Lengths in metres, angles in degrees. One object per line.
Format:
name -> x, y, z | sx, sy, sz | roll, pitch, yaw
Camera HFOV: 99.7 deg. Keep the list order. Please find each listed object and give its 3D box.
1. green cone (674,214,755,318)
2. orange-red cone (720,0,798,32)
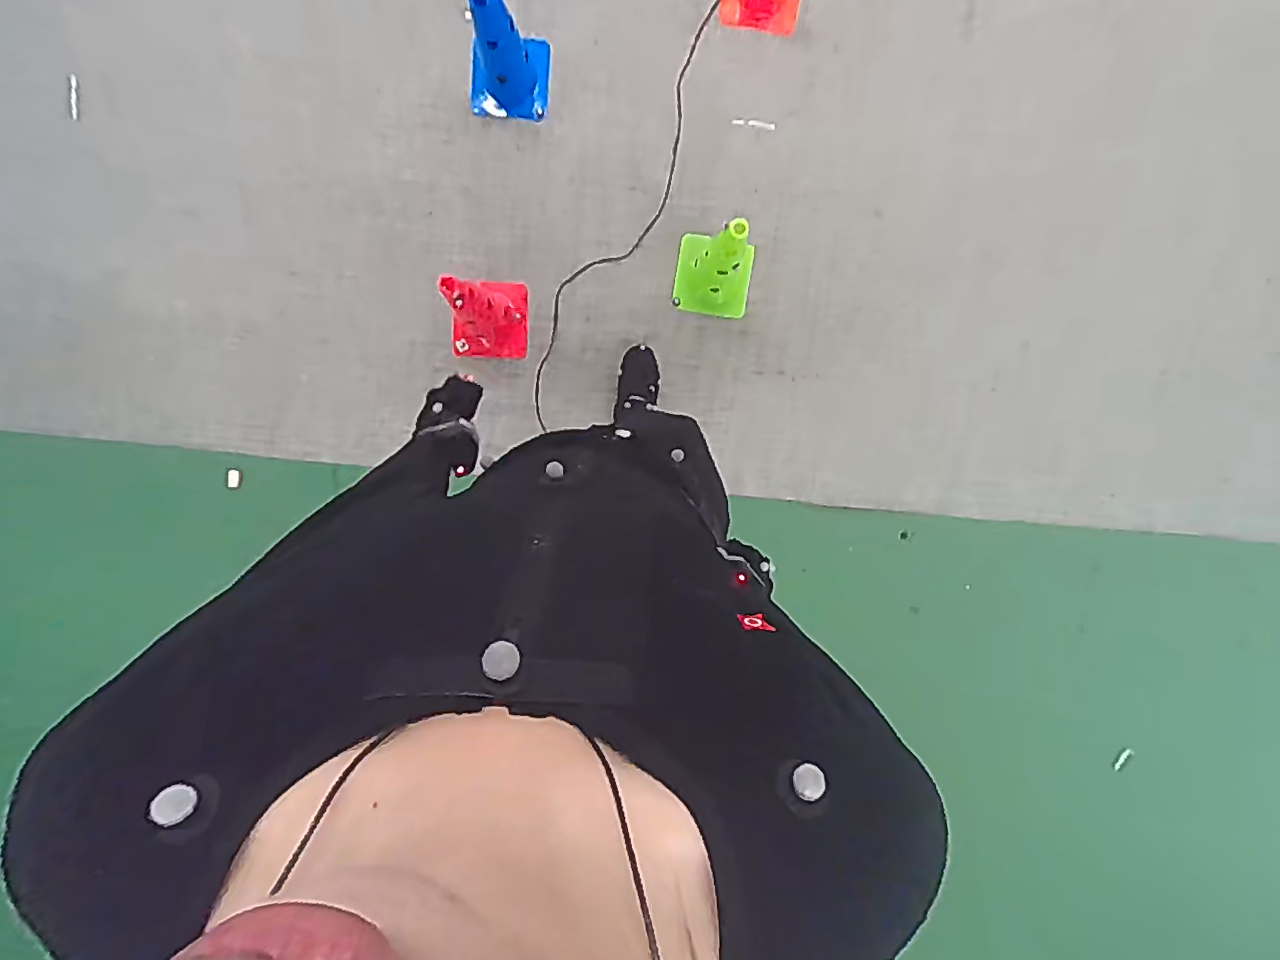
green cone -> 0.204, -0.531, 1.280 | 0.200, 0.368, 0.202 | 7, 94, -2
orange-red cone -> 0.315, -1.252, 1.221 | 0.198, 0.360, 0.199 | 10, 96, -1
